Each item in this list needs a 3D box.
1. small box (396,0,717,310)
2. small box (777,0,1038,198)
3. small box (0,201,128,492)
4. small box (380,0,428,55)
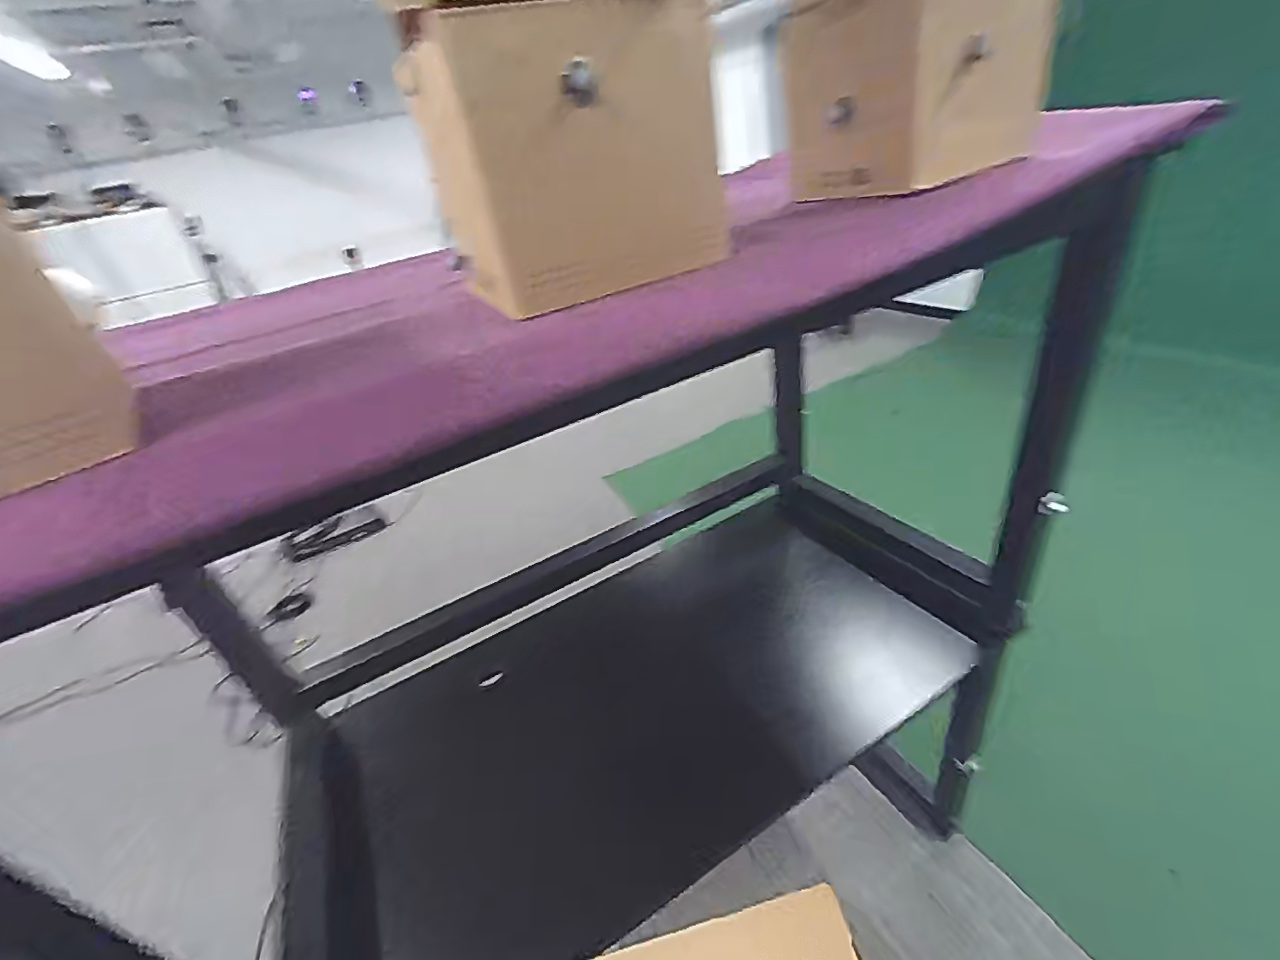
[{"bbox_3d":[-0.058,-0.240,0.409,0.179,0.176,0.168,-23,34,-19],"label":"small box"},{"bbox_3d":[0.264,-0.391,0.542,0.179,0.176,0.168,-25,33,-18],"label":"small box"},{"bbox_3d":[-0.381,-0.074,0.245,0.168,0.176,0.179,-31,37,-30],"label":"small box"},{"bbox_3d":[-0.089,-0.373,0.321,0.179,0.176,0.168,-19,32,-10],"label":"small box"}]
